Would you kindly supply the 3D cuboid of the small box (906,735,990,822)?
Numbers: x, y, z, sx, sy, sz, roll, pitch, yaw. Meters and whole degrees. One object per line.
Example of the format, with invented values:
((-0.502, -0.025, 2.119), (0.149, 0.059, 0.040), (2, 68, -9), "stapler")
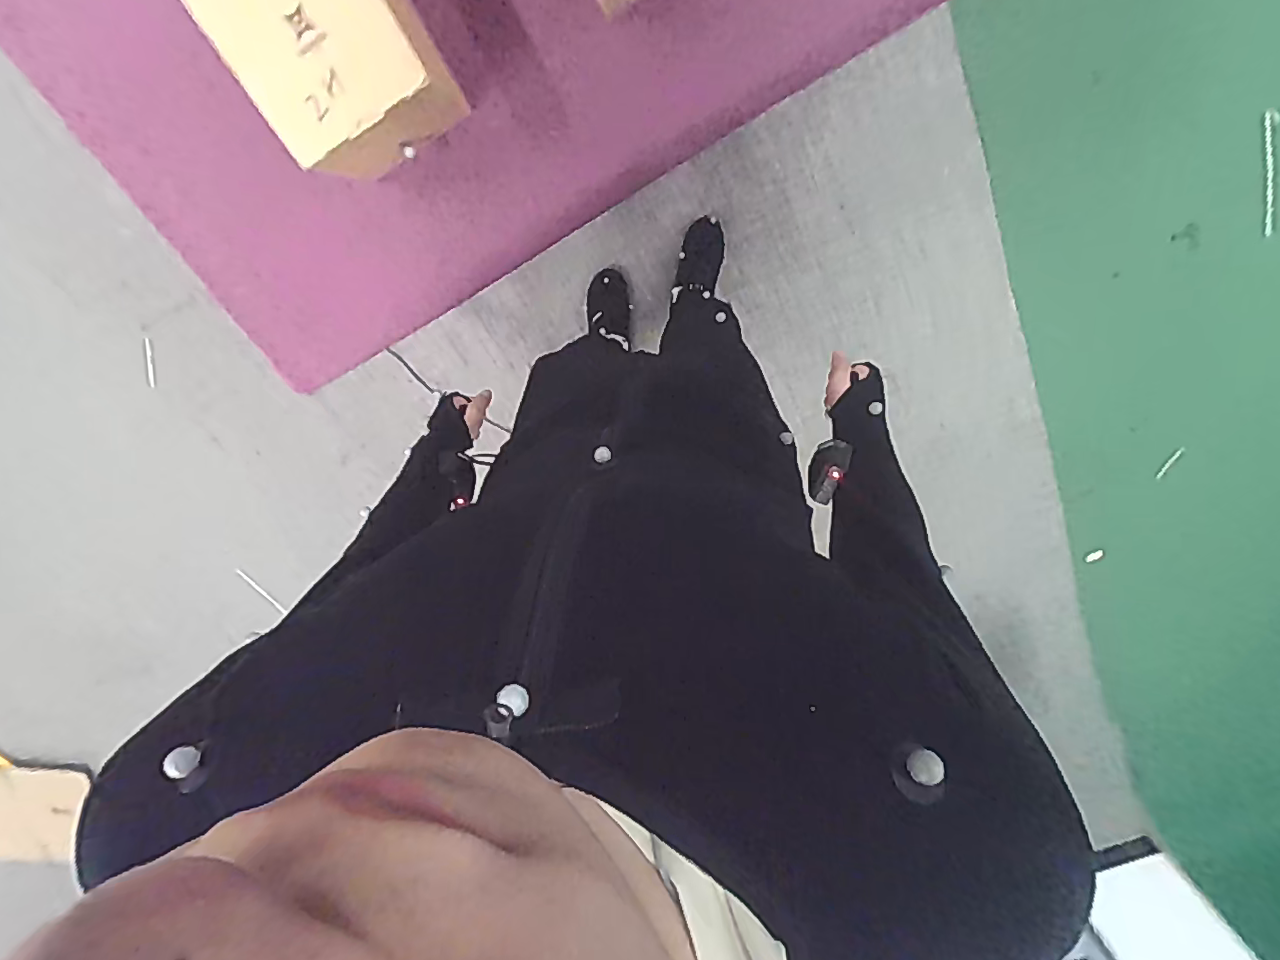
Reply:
((0.983, 0.948, 1.726), (0.179, 0.176, 0.168), (-19, 115, 7), "small box")

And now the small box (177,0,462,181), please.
((-0.324, -0.452, 0.583), (0.168, 0.176, 0.179), (-26, 113, 10), "small box")
